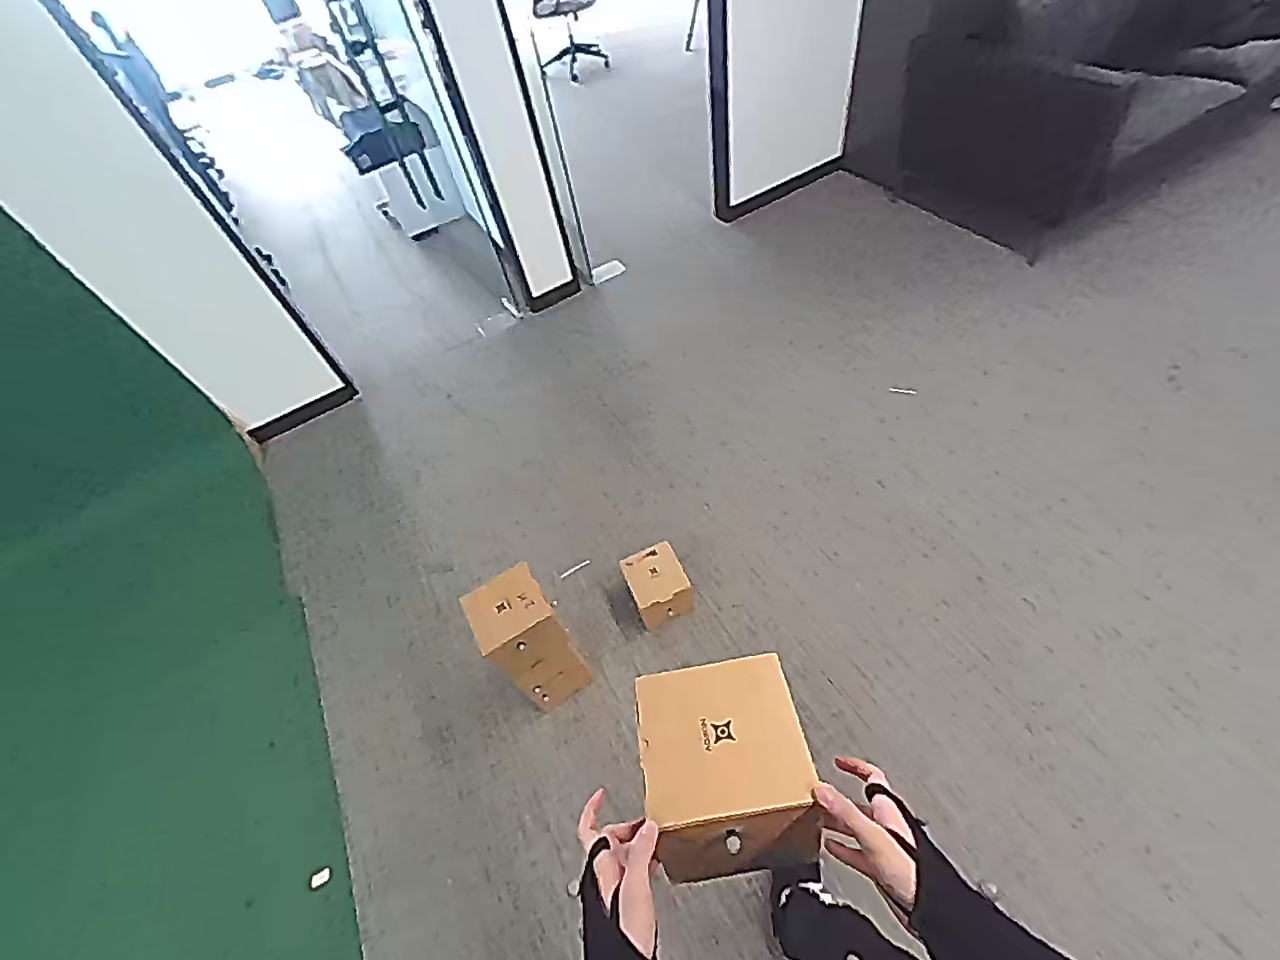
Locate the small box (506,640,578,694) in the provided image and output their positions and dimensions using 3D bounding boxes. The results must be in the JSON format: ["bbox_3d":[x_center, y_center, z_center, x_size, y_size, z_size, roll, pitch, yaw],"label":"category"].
[{"bbox_3d":[-0.283,0.441,1.430,0.168,0.176,0.179,-30,53,-14],"label":"small box"}]

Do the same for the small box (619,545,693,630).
[{"bbox_3d":[0.053,0.338,1.657,0.168,0.176,0.179,-23,53,-8],"label":"small box"}]

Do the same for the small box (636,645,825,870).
[{"bbox_3d":[0.100,0.324,0.632,0.179,0.176,0.168,-12,37,2],"label":"small box"}]

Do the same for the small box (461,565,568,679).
[{"bbox_3d":[-0.296,0.344,1.296,0.179,0.176,0.168,-29,53,-13],"label":"small box"}]
